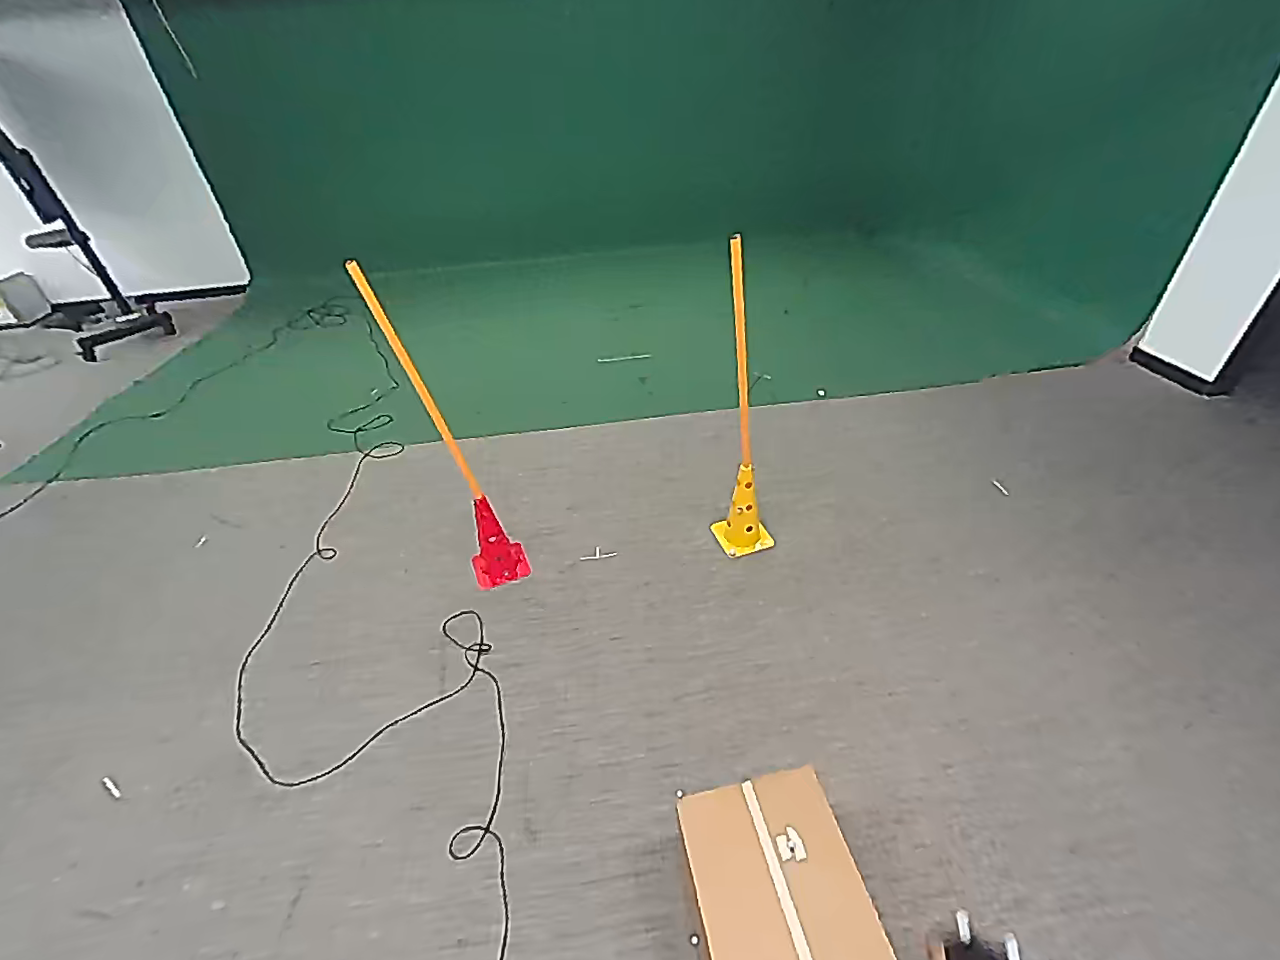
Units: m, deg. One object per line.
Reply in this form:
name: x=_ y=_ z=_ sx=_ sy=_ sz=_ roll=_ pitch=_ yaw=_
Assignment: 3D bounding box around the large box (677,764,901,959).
large box: x=0.279 y=0.885 z=1.107 sx=0.320 sy=0.320 sz=0.408 roll=-9 pitch=36 yaw=-7
